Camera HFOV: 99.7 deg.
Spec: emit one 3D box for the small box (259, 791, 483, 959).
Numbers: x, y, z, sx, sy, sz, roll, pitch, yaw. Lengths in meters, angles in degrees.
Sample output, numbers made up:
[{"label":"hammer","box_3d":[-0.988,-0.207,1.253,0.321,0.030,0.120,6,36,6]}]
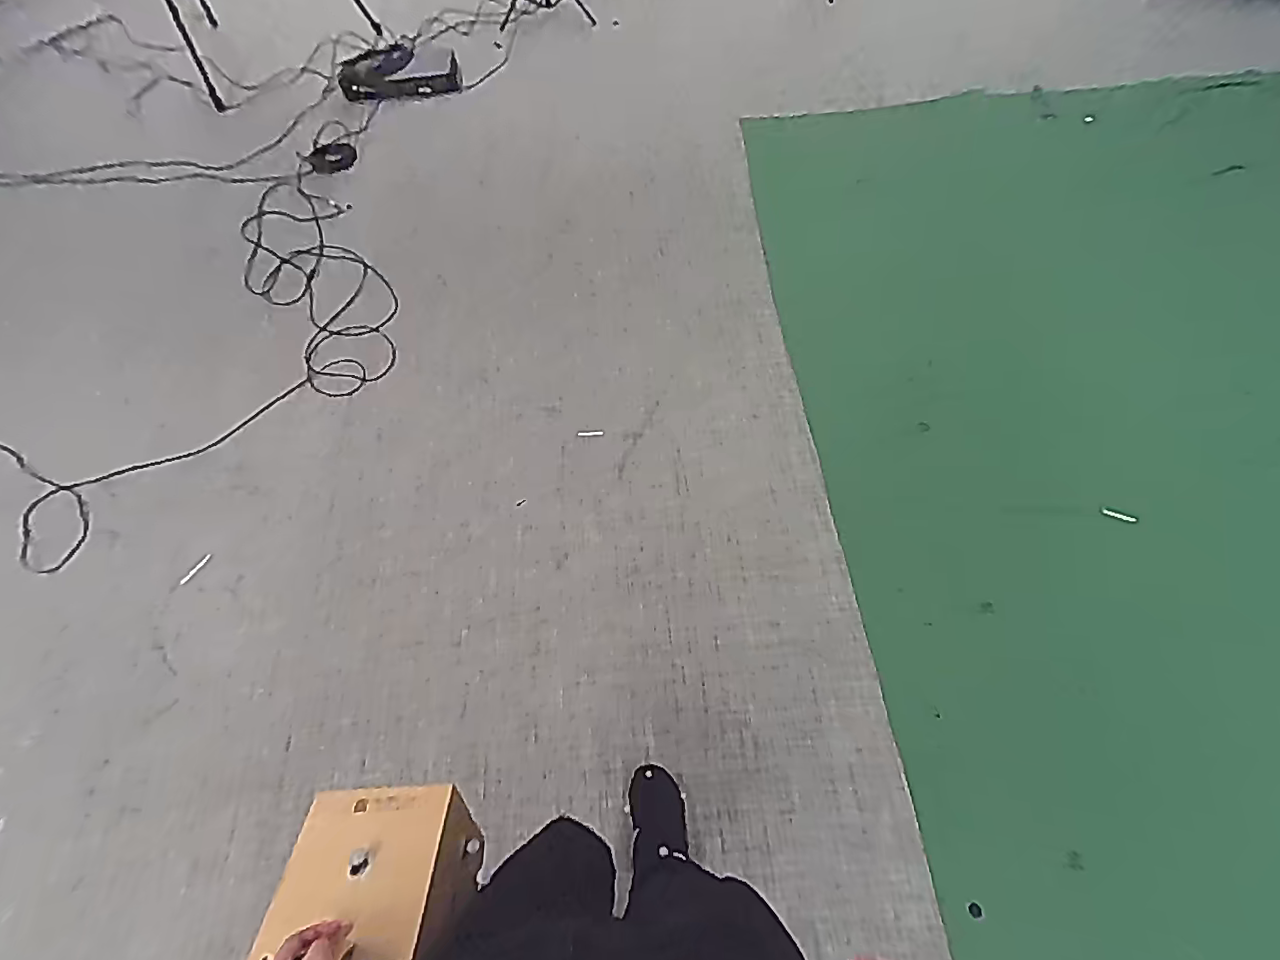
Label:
[{"label":"small box","box_3d":[-0.293,0.482,0.628,0.168,0.179,0.176,-5,37,-1]}]
